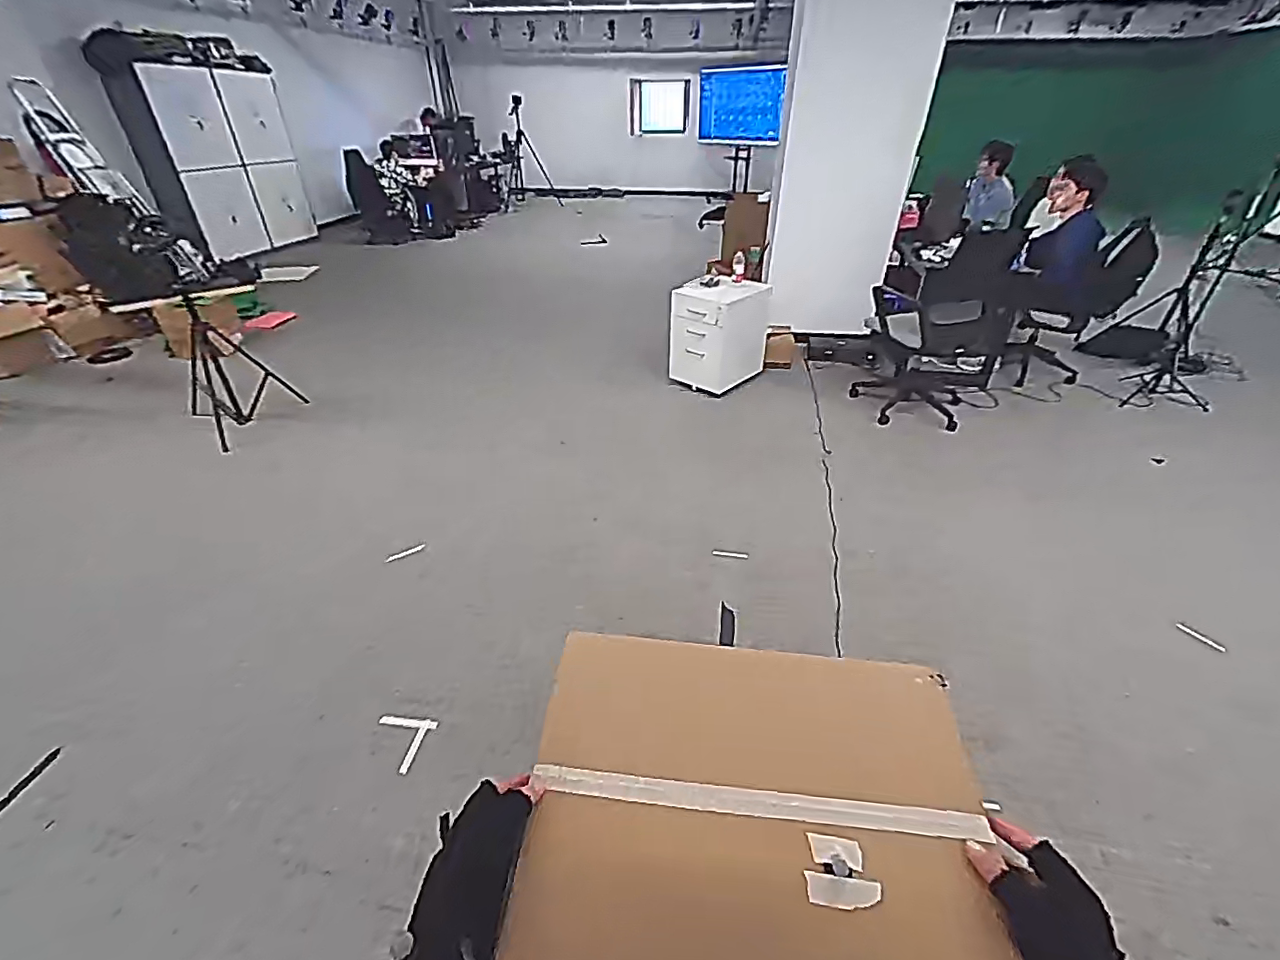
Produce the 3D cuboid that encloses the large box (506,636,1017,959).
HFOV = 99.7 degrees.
[{"bbox_3d":[0.104,0.407,0.603,0.408,0.320,0.320,4,42,5],"label":"large box"}]
